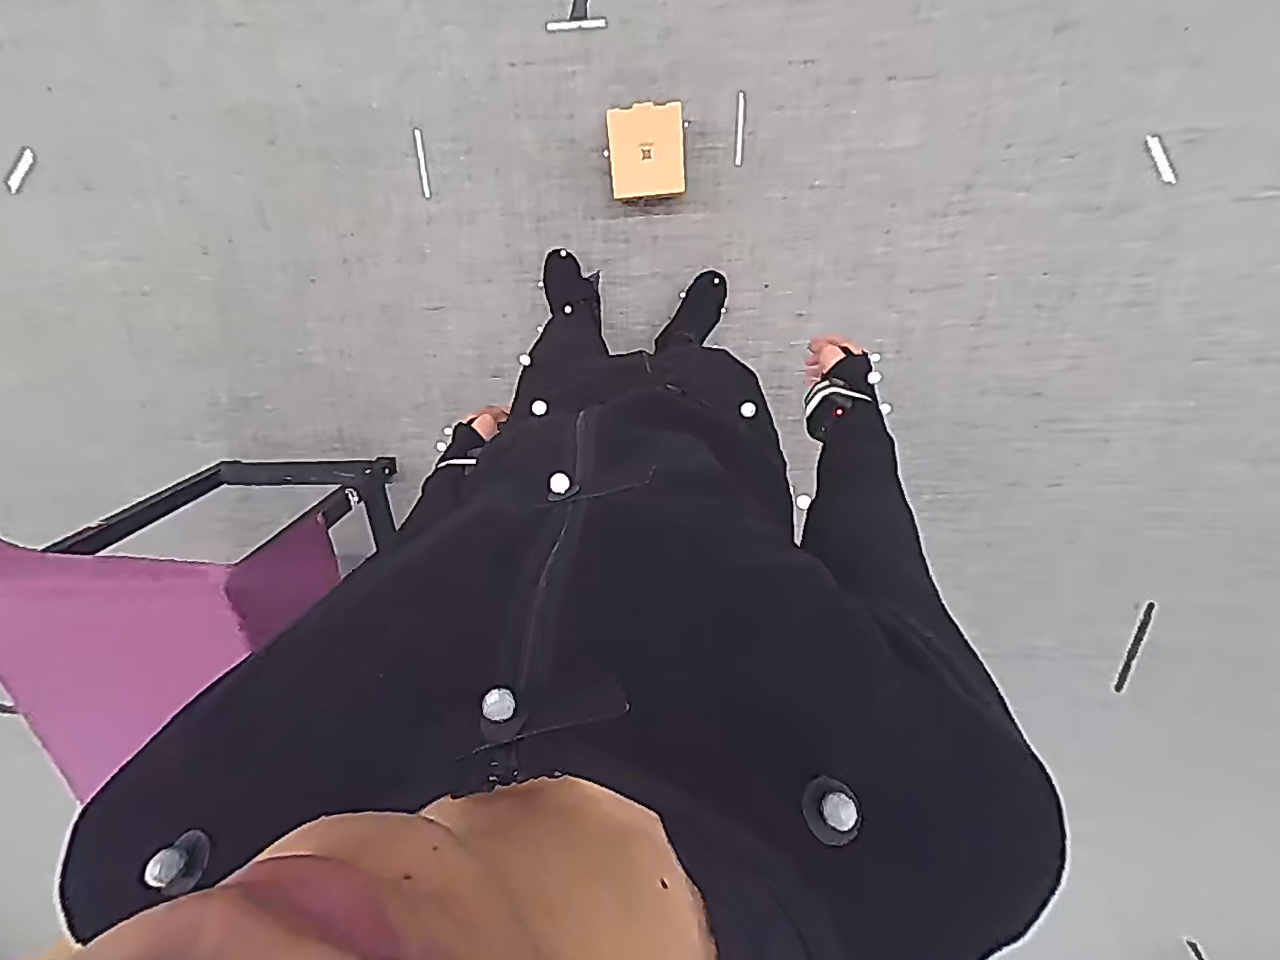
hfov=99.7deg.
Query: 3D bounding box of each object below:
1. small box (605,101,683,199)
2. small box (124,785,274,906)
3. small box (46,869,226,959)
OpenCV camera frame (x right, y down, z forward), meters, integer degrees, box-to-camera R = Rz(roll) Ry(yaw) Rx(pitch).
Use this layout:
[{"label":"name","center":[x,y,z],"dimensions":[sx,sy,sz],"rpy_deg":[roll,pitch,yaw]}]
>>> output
[{"label":"small box","center":[0.016,-0.764,1.270],"dimensions":[0.168,0.176,0.179],"rpy_deg":[-4,114,4]},{"label":"small box","center":[-0.989,0.834,1.234],"dimensions":[0.168,0.176,0.179],"rpy_deg":[-10,113,7]},{"label":"small box","center":[-1.003,0.921,1.093],"dimensions":[0.179,0.176,0.168],"rpy_deg":[-5,114,5]}]
